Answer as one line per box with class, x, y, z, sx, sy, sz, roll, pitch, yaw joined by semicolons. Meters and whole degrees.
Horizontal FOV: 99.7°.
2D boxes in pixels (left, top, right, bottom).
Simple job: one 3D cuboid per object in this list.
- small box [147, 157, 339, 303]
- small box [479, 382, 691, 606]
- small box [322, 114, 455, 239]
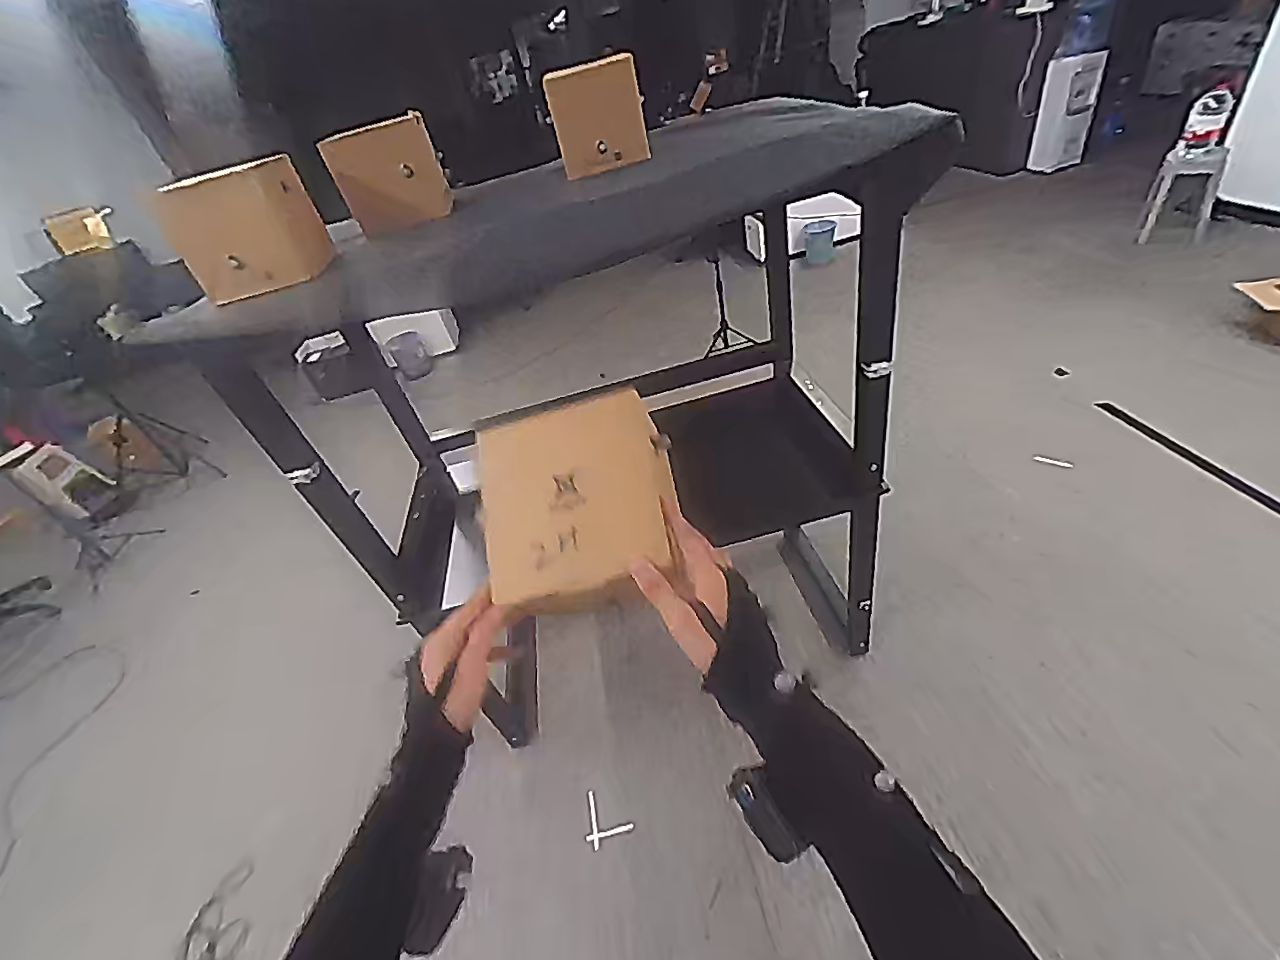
small box;-0.632;-0.412;0.893;0.168;0.176;0.179;-16;38;-2
small box;-0.050;0.027;0.568;0.168;0.176;0.179;-14;72;8
small box;-0.484;-0.602;1.073;0.179;0.176;0.168;-16;39;-3
